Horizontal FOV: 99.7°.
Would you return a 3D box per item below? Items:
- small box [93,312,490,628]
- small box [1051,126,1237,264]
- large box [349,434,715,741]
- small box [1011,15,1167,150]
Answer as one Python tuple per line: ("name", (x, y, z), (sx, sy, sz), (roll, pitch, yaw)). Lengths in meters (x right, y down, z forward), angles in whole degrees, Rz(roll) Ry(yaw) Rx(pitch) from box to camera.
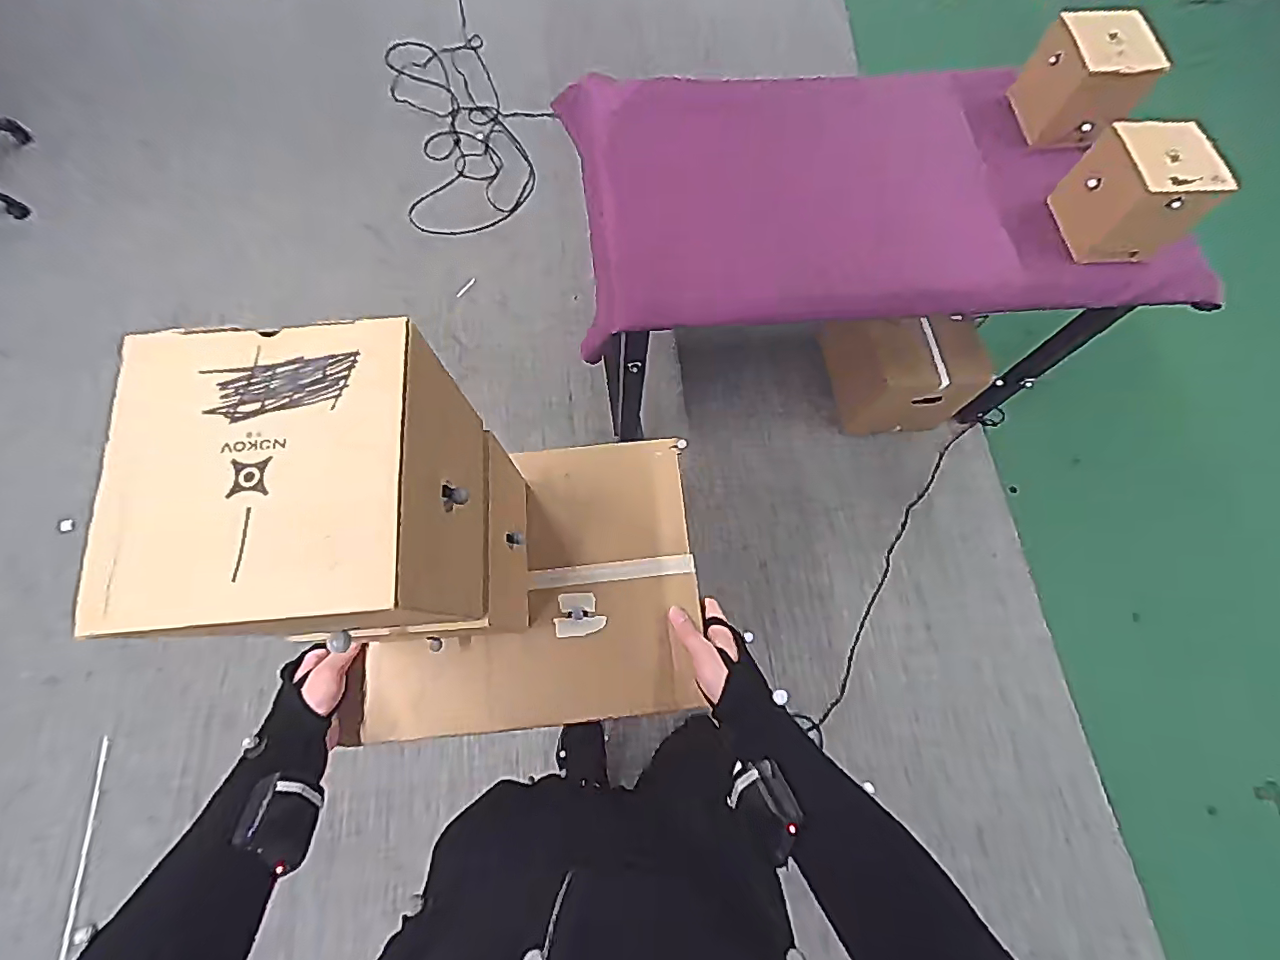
("small box", (-0.210, 0.007, 0.383), (0.168, 0.176, 0.179), (-5, 74, -2))
("small box", (0.944, -0.542, 1.036), (0.168, 0.176, 0.179), (-3, 67, -2))
("large box", (-0.135, 0.153, 0.766), (0.408, 0.320, 0.320), (-6, 74, -3))
("small box", (0.933, -0.837, 1.146), (0.168, 0.176, 0.179), (-4, 71, -2))
